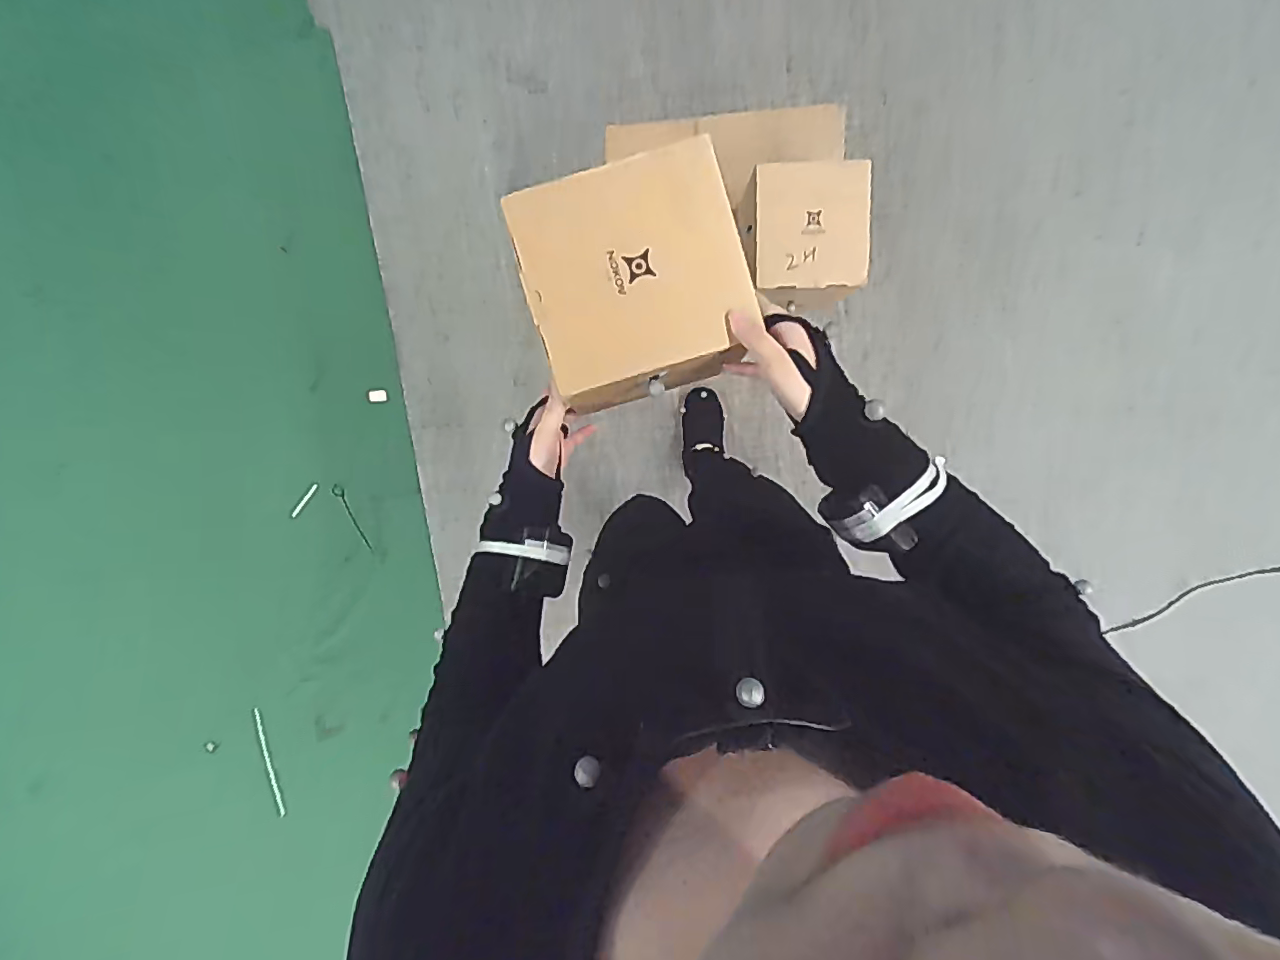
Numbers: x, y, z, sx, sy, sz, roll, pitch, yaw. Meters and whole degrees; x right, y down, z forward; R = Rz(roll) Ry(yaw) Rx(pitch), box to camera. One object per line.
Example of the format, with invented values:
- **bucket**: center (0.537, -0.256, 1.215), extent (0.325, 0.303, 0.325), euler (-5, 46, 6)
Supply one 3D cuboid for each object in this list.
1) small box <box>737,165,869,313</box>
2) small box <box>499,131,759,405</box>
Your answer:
- **small box**: center (0.249, -0.373, 0.863), extent (0.168, 0.176, 0.179), euler (-1, 97, 2)
- **small box**: center (-0.008, -0.177, 0.508), extent (0.179, 0.176, 0.168), euler (-16, 91, 2)
